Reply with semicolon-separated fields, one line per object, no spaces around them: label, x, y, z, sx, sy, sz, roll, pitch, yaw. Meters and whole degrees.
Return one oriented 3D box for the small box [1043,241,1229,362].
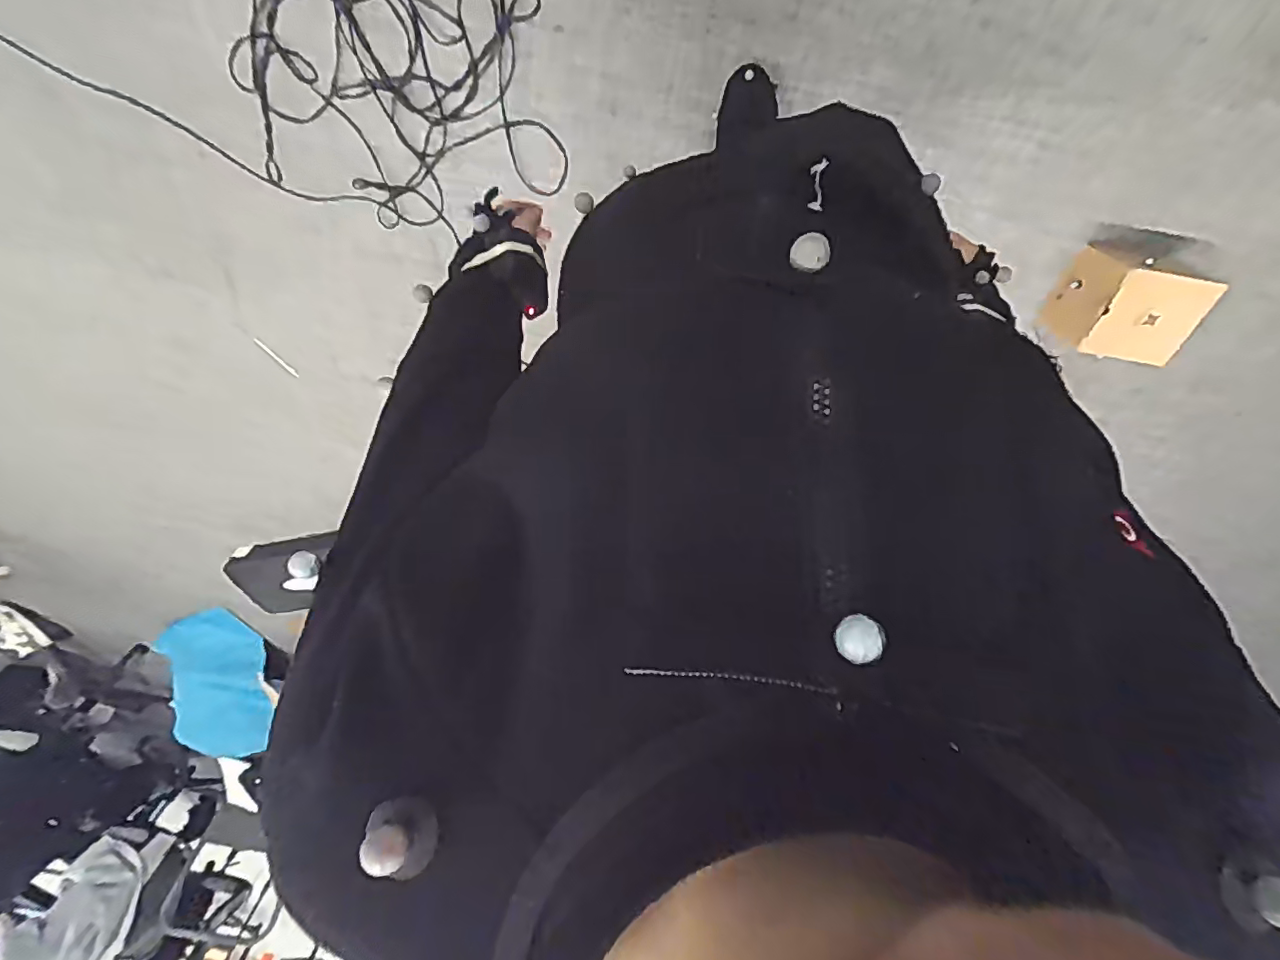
small box;0.960;-0.356;1.069;0.179;0.176;0.168;10;129;1
